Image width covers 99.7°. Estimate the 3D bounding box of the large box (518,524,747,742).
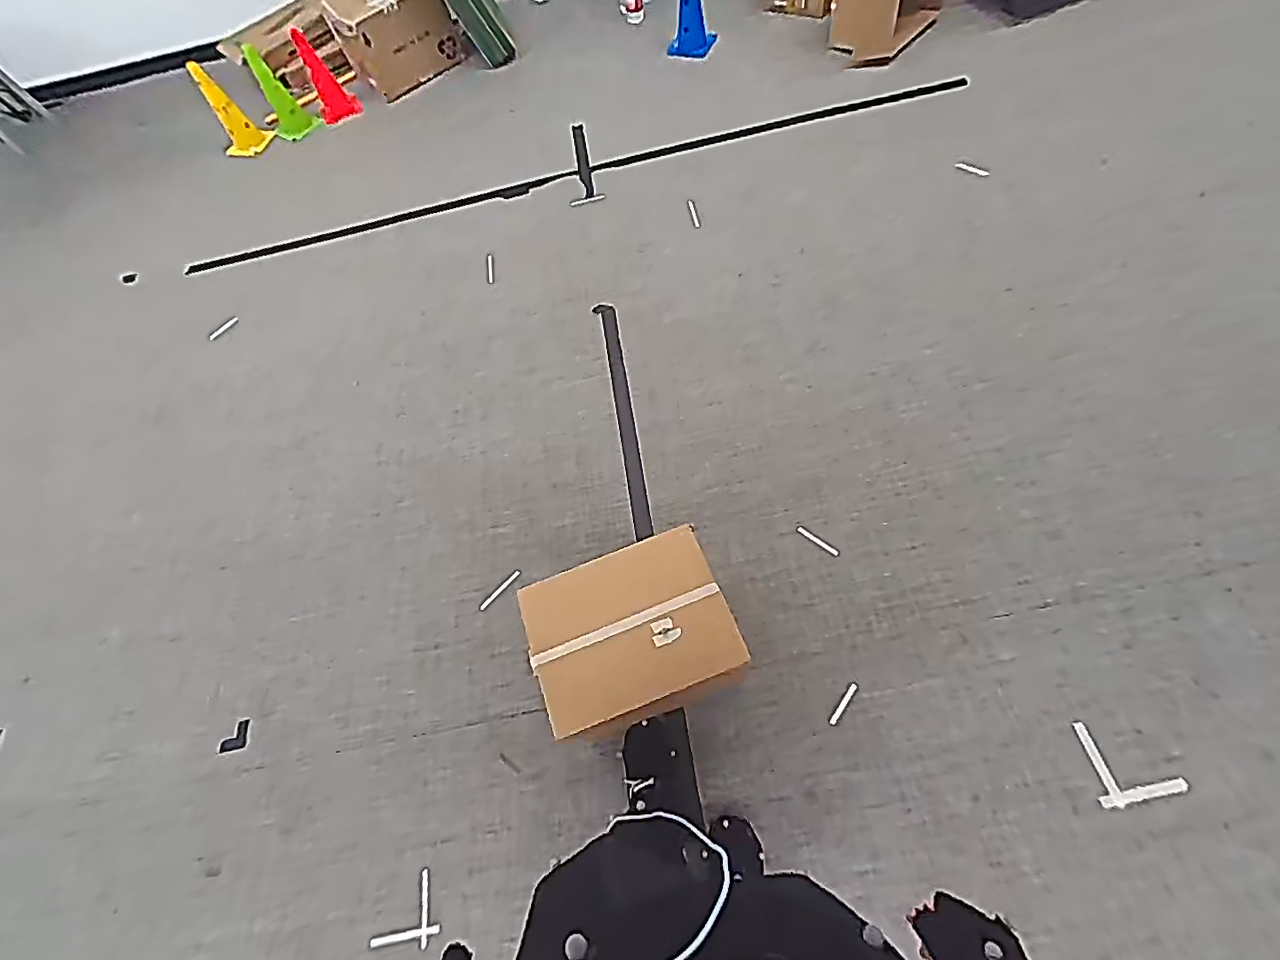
[{"bbox_3d":[-0.011,0.358,1.228,0.408,0.320,0.320,-20,63,-3],"label":"large box"}]
